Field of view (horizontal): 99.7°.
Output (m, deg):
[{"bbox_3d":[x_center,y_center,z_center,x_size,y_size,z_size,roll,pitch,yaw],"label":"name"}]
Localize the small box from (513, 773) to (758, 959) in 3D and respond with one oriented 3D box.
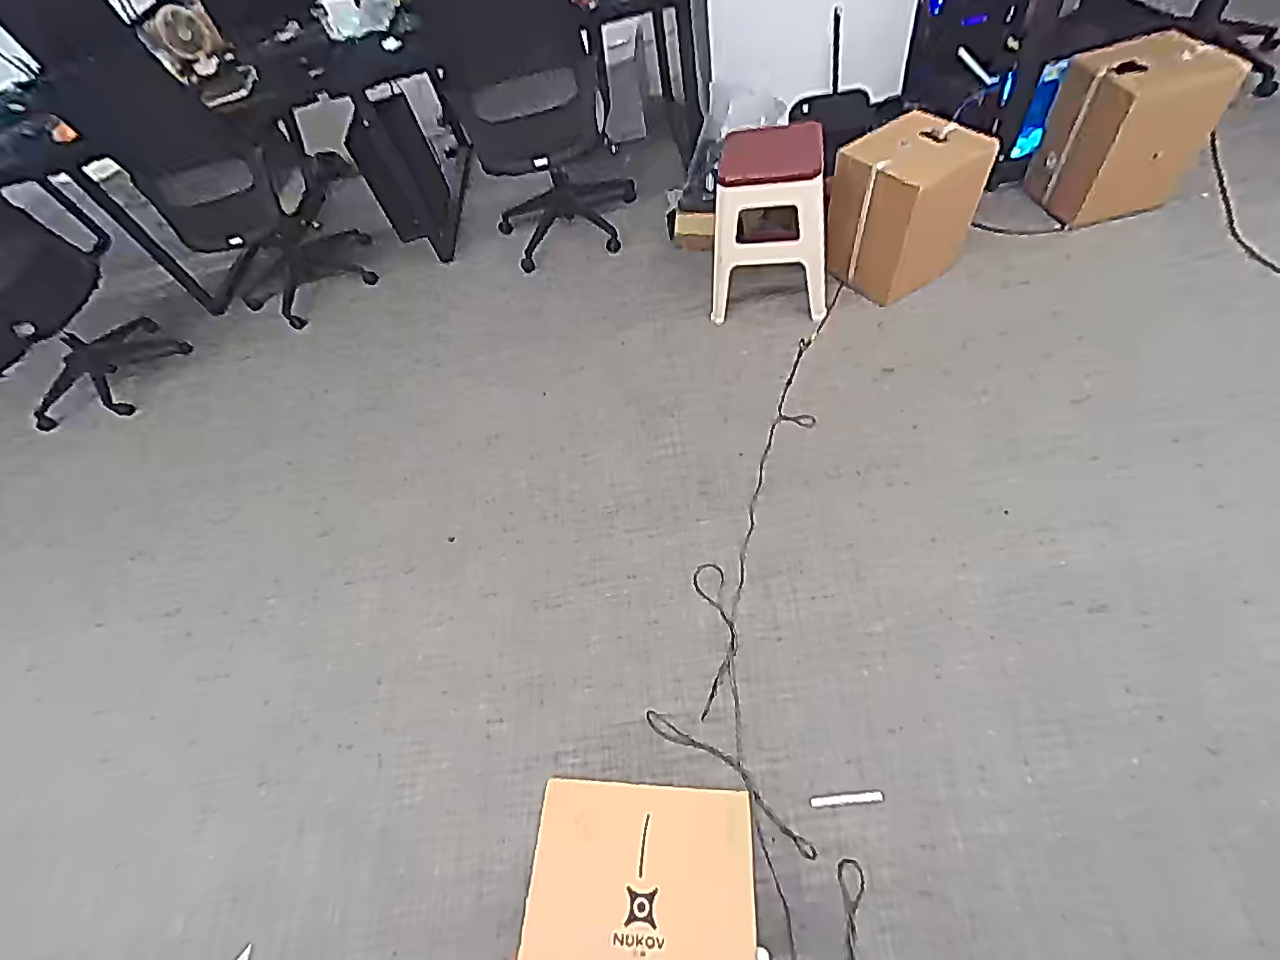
[{"bbox_3d":[0.003,0.354,0.431,0.168,0.176,0.179,2,49,4],"label":"small box"}]
